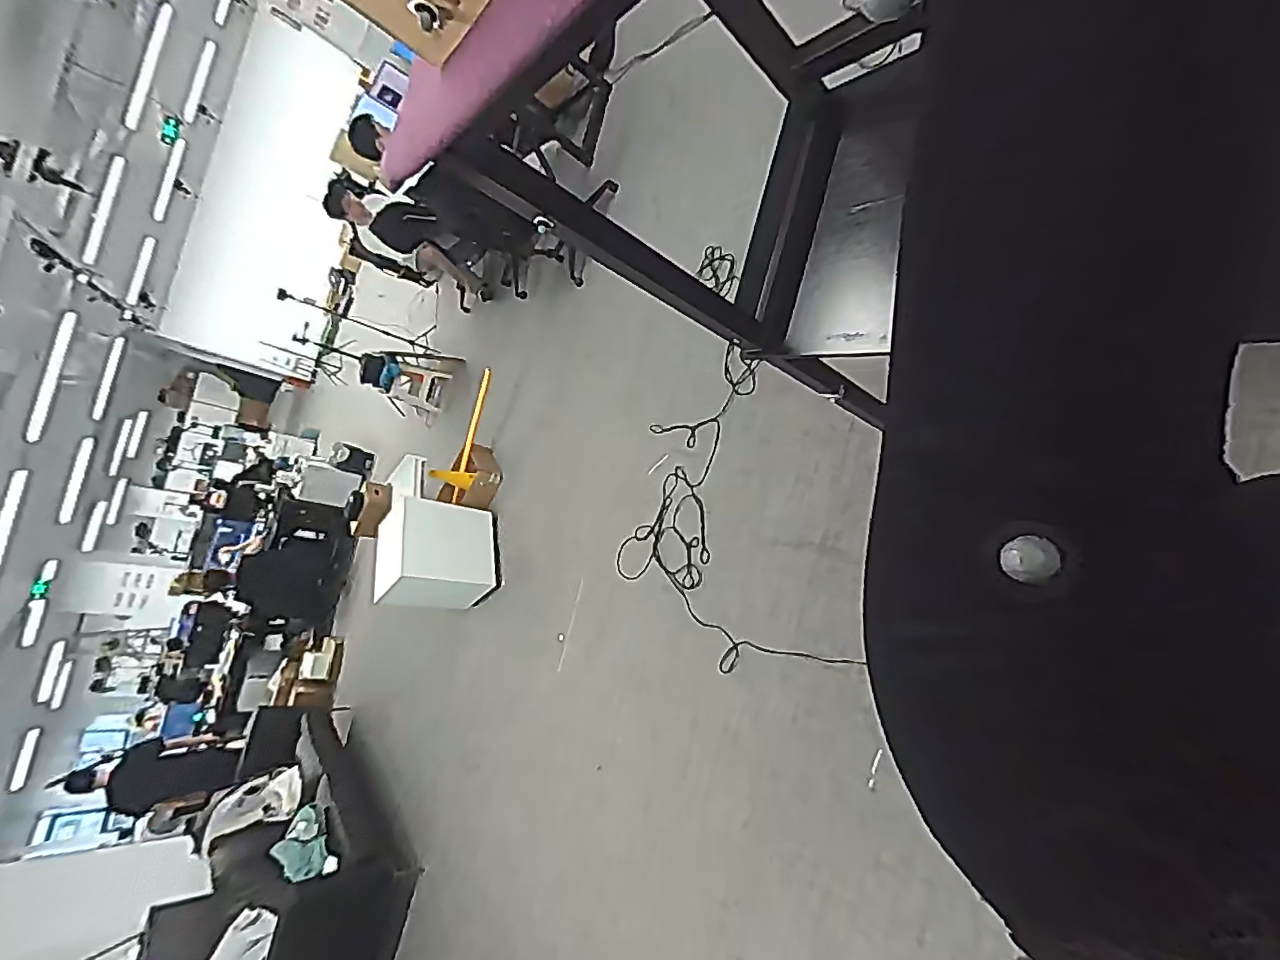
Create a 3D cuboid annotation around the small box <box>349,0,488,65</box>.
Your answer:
[{"bbox_3d":[-0.213,-0.538,0.482,0.168,0.176,0.179,7,84,52],"label":"small box"}]
